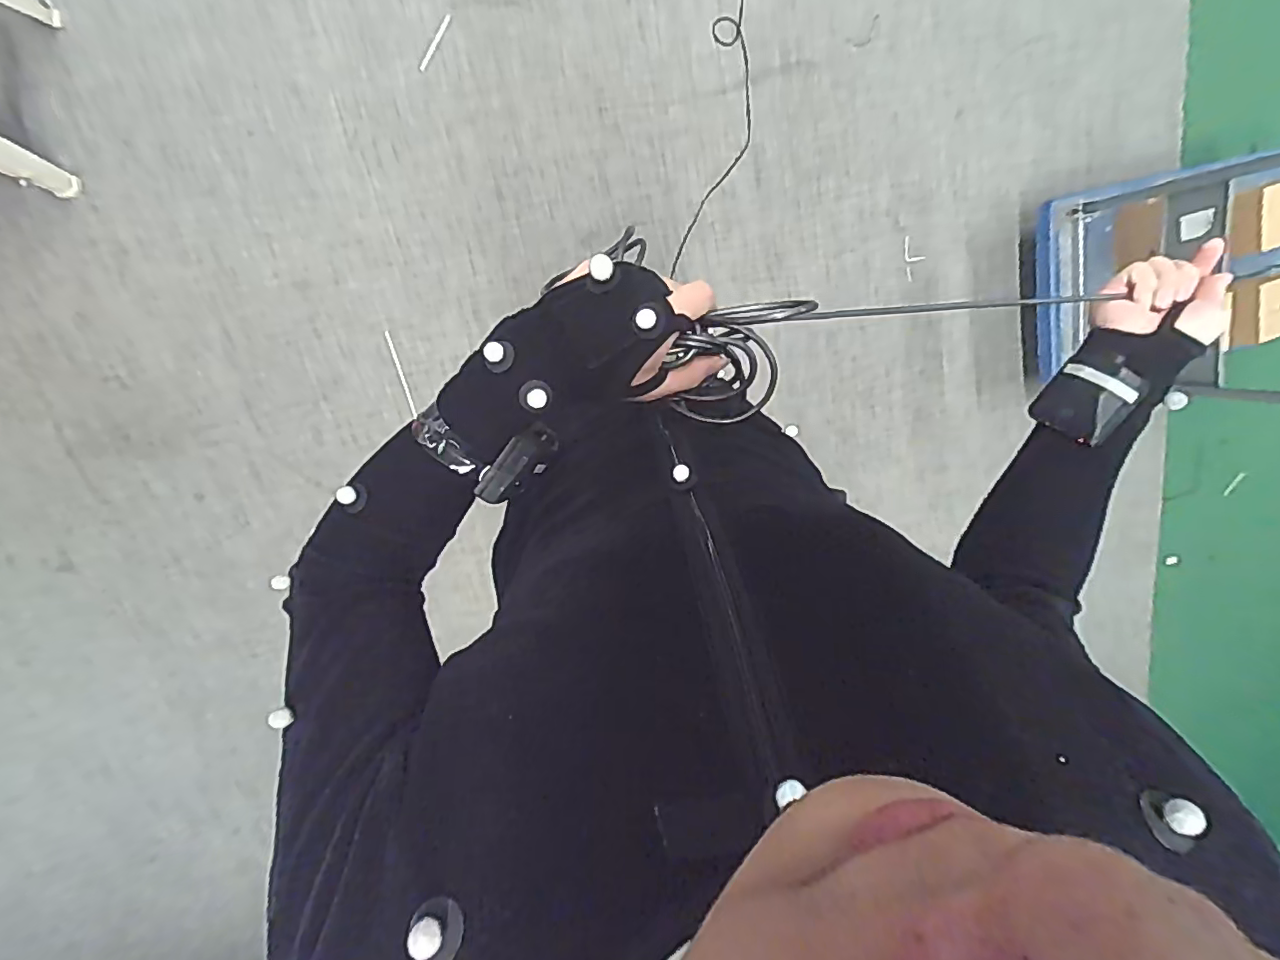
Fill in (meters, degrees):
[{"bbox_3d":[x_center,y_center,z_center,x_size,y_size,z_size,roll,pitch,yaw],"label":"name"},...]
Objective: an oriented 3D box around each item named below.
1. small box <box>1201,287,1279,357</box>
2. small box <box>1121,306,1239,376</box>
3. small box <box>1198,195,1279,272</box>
[{"bbox_3d":[1.804,-0.464,1.585,0.179,0.176,0.168,-18,104,-5],"label":"small box"},{"bbox_3d":[1.544,-0.399,1.554,0.179,0.176,0.168,-13,104,-6],"label":"small box"},{"bbox_3d":[1.734,-0.698,1.523,0.179,0.176,0.168,-18,105,-6],"label":"small box"}]
